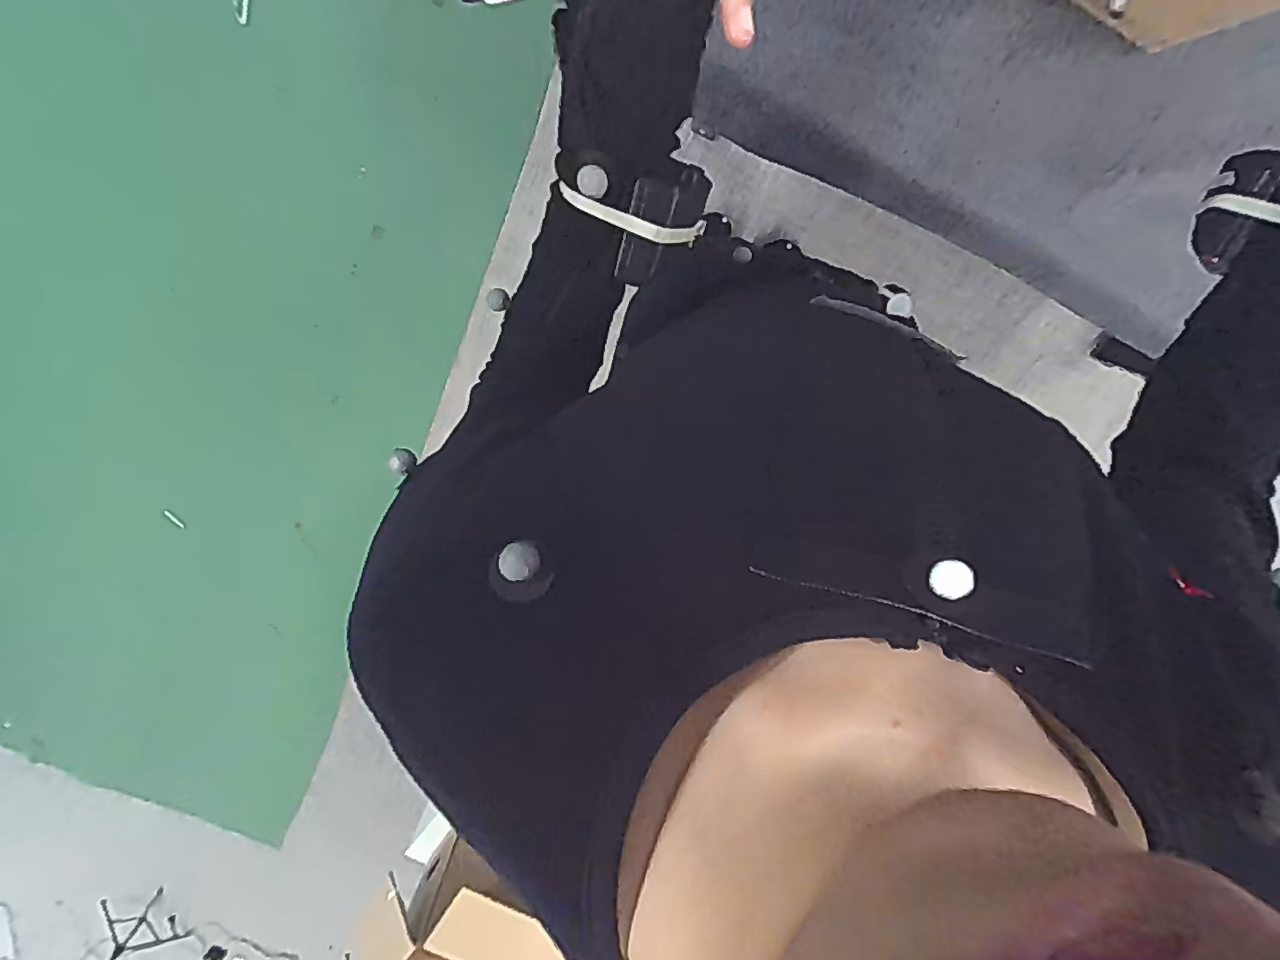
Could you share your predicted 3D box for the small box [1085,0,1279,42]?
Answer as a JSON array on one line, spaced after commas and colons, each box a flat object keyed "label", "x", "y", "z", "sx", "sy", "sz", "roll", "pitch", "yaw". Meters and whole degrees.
[{"label": "small box", "x": 0.457, "y": -0.485, "z": 0.403, "sx": 0.168, "sy": 0.176, "sz": 0.179, "roll": 26, "pitch": 115, "yaw": -7}]
